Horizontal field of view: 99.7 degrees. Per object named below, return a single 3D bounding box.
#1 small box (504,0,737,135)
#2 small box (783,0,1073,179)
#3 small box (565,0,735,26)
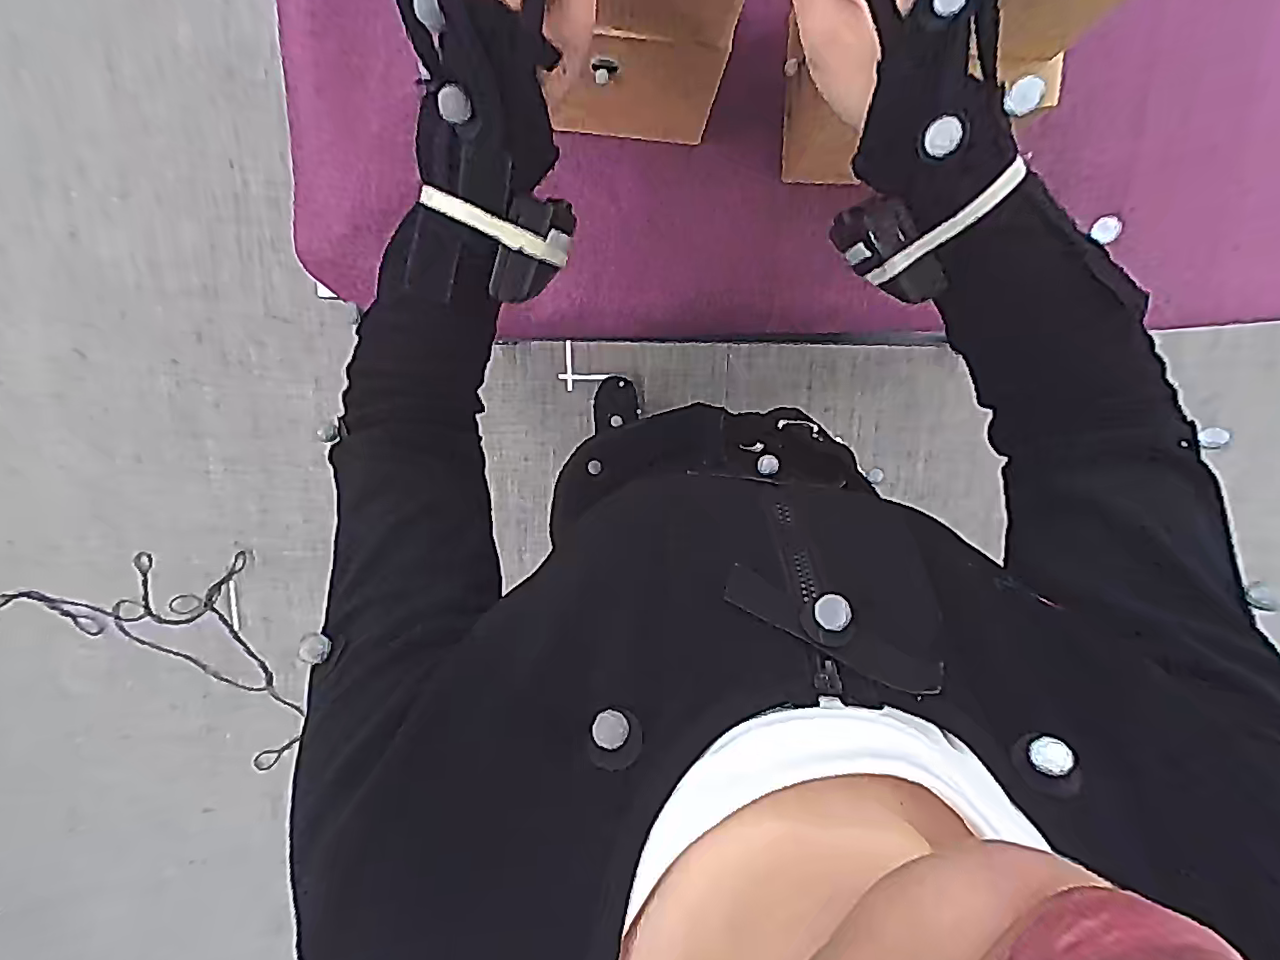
[{"bbox_3d":[-0.011,-0.433,0.474,0.179,0.176,0.168,4,99,-4],"label":"small box"},{"bbox_3d":[0.244,-0.392,0.488,0.179,0.176,0.168,1,98,-2],"label":"small box"},{"bbox_3d":[0.003,-0.413,0.313,0.179,0.176,0.168,8,99,-3],"label":"small box"}]
